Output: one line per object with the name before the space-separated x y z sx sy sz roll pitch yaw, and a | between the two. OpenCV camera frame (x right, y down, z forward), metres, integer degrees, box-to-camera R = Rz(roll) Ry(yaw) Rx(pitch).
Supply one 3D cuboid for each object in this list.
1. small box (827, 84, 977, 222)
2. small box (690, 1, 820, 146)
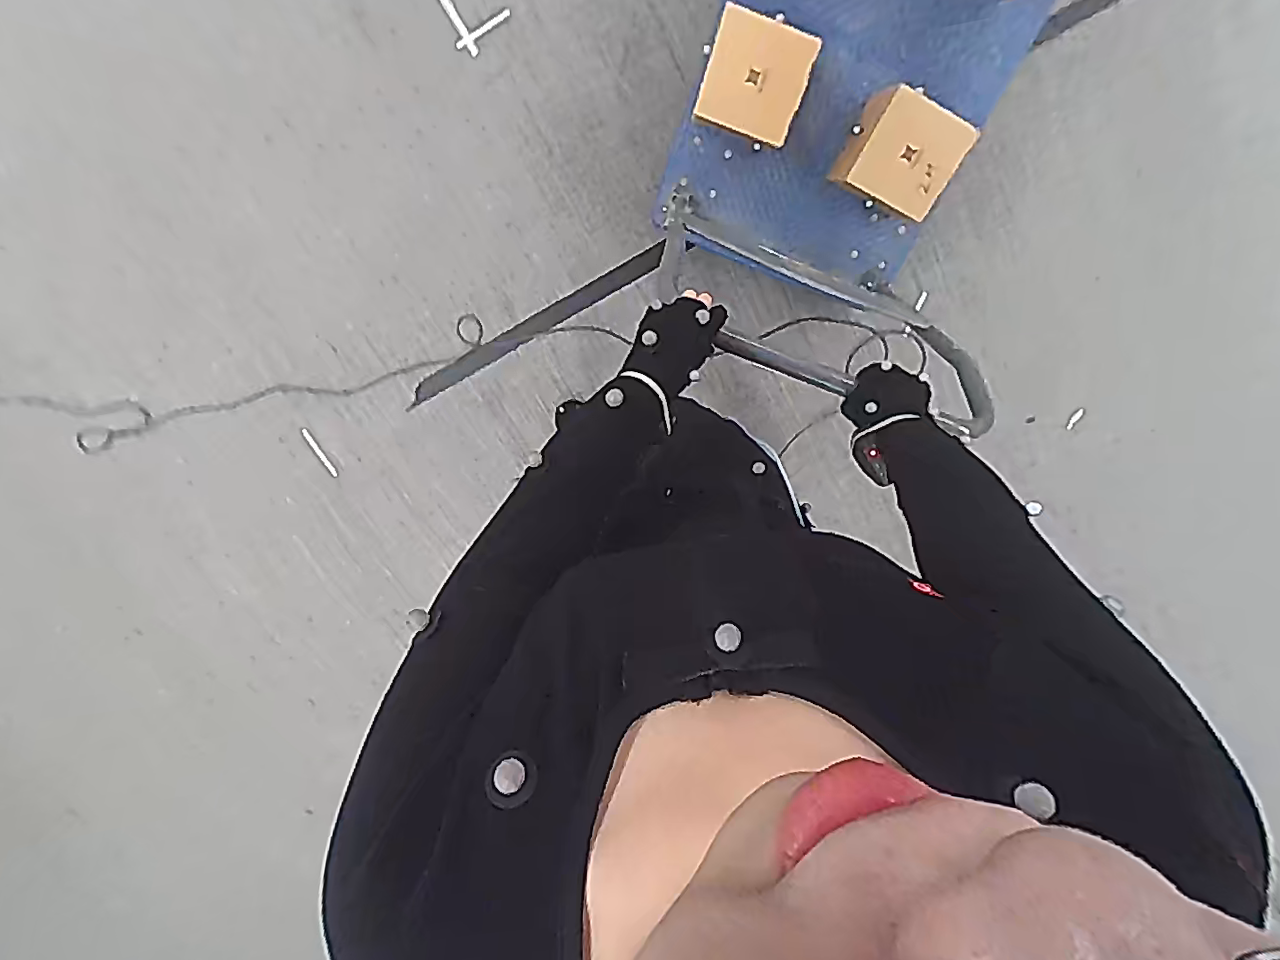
small box | 0.495 -0.630 1.056 0.179 0.176 0.168 24 119 -10
small box | 0.200 -0.741 1.010 0.179 0.176 0.168 16 120 -8
